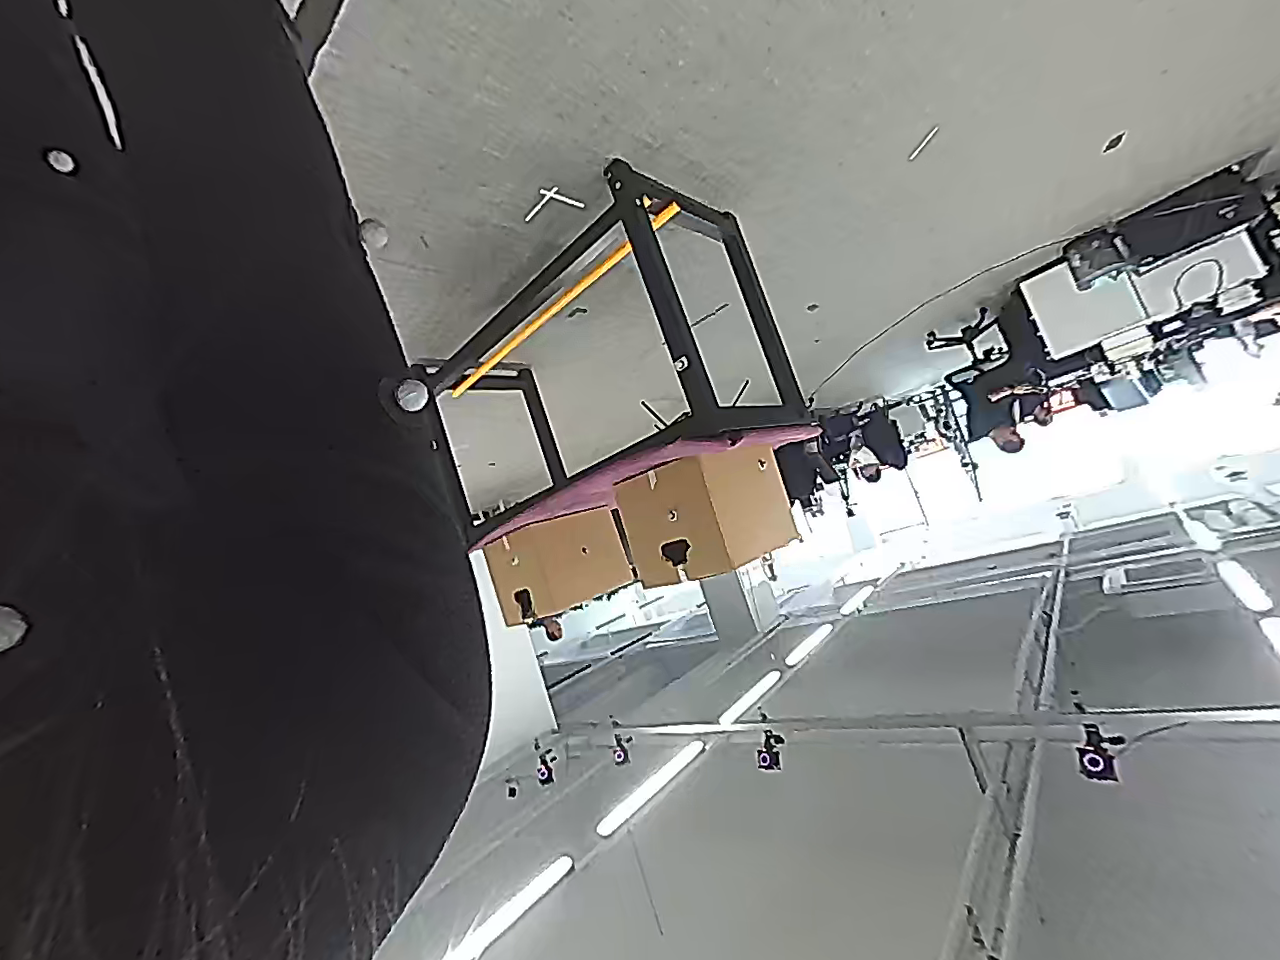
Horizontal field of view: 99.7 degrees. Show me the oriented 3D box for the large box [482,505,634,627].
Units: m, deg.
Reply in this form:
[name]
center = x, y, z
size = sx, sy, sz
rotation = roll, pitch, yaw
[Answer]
[large box]
center = -0.301, 0.309, 2.000
size = 0.320, 0.320, 0.408
rotation = -24, 173, 39
